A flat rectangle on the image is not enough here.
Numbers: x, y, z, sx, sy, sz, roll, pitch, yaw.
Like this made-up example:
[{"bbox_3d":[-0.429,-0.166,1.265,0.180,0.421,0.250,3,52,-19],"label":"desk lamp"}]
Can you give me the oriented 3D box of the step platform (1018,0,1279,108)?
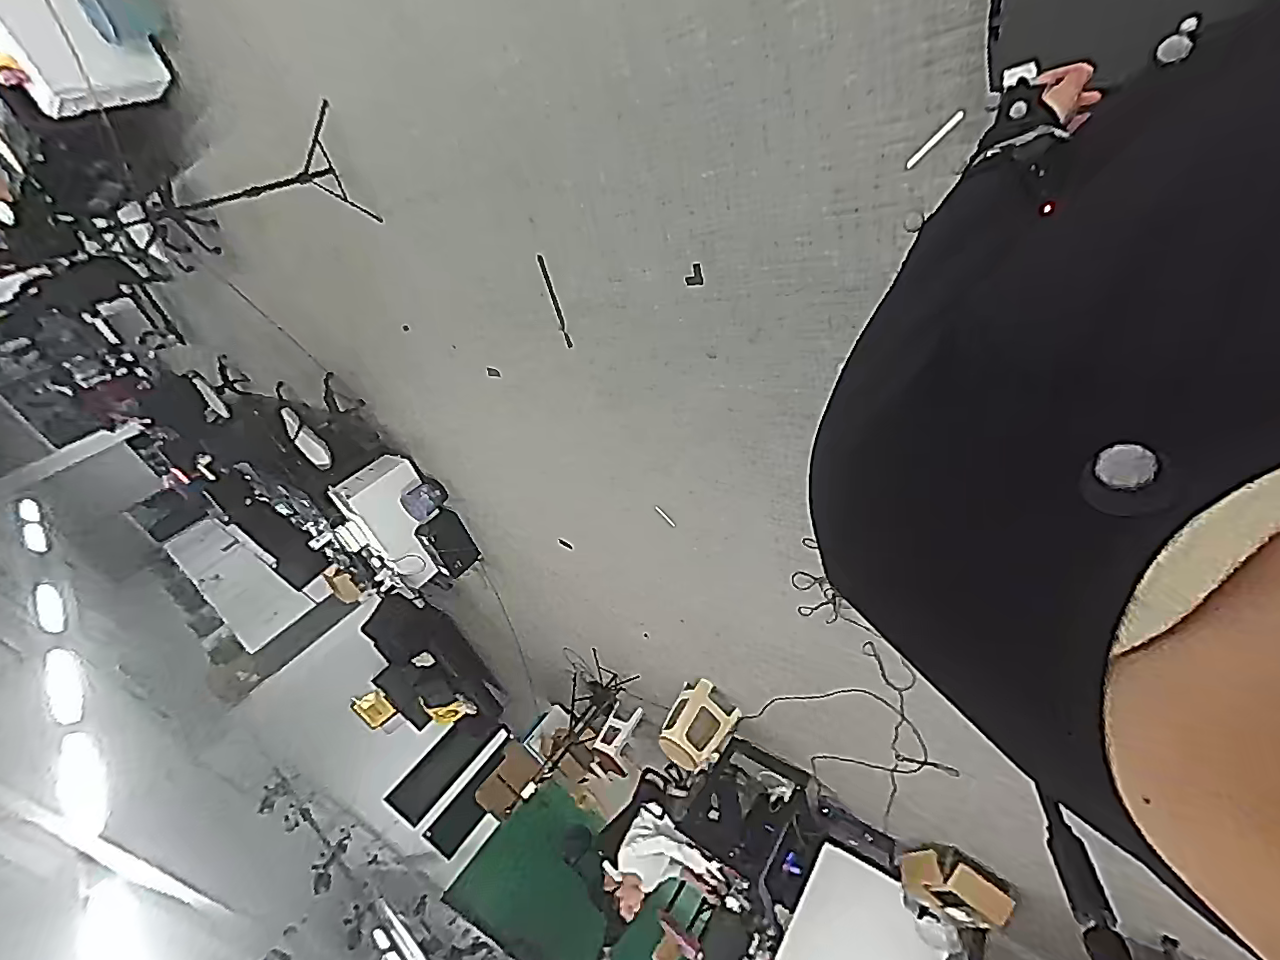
[{"bbox_3d":[0.938,-0.737,0.744,0.684,0.204,0.286,16,135,35],"label":"step platform"}]
